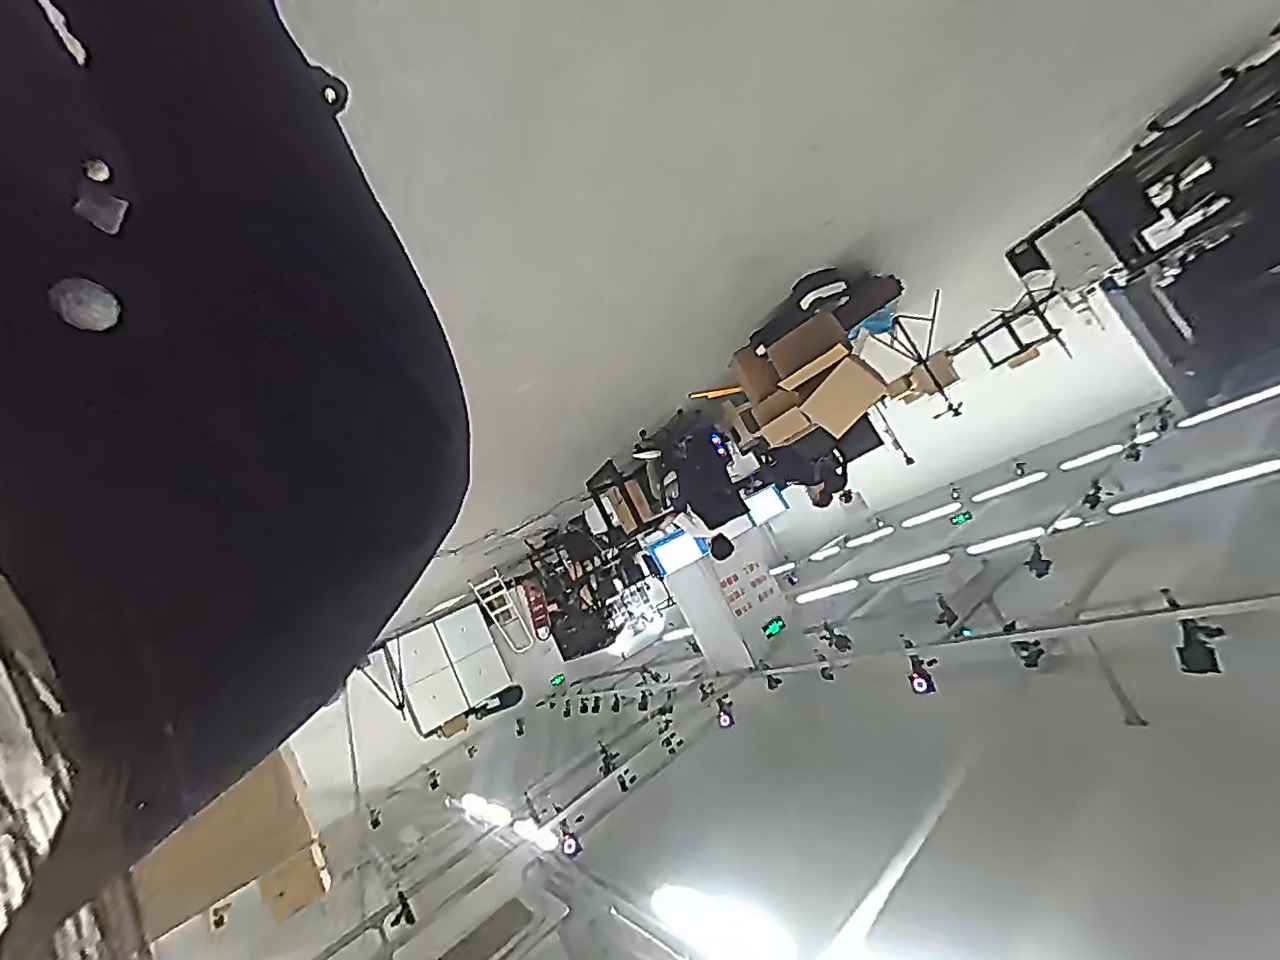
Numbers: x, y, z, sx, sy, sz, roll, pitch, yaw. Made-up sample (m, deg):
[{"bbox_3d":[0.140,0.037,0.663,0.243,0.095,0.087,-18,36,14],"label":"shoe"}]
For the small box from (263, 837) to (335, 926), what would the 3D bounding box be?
[{"bbox_3d":[-1.202,1.406,1.908,0.168,0.176,0.179,-22,169,-30],"label":"small box"}]
